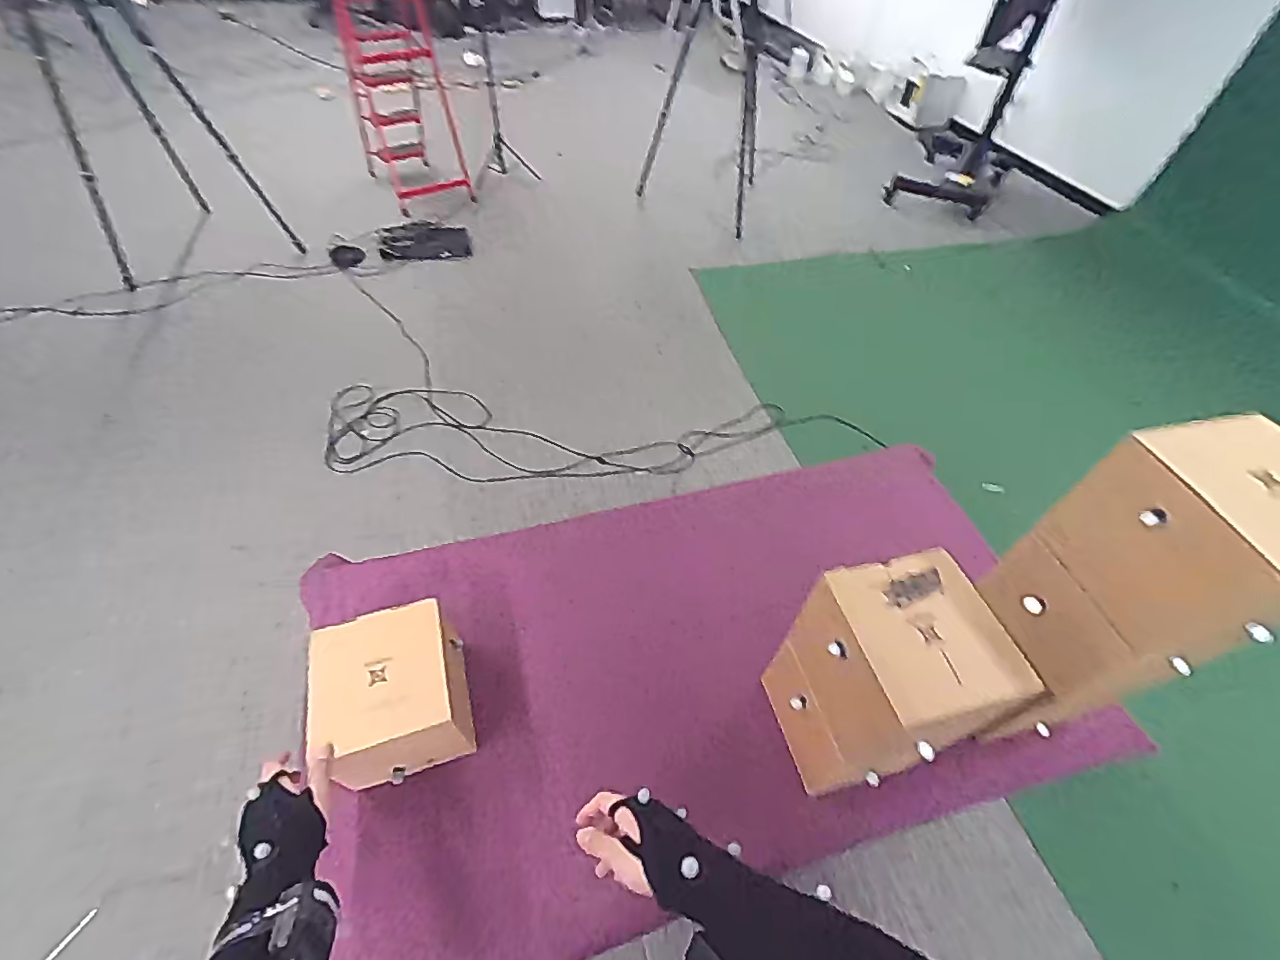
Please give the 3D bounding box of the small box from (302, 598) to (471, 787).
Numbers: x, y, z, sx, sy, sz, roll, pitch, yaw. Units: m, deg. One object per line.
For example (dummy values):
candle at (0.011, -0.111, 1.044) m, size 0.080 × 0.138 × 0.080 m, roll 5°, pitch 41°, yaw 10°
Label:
small box at (-0.343, 0.296, 0.752) m, size 0.168 × 0.176 × 0.179 m, roll -14°, pitch 54°, yaw -13°

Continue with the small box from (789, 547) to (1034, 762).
small box at (0.300, 0.209, 0.647) m, size 0.168 × 0.176 × 0.179 m, roll -10°, pitch 51°, yaw -10°

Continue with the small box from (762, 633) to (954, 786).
small box at (0.293, 0.316, 0.771) m, size 0.168 × 0.176 × 0.179 m, roll -10°, pitch 50°, yaw -11°

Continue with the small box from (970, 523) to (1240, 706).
small box at (0.574, 0.163, 0.695) m, size 0.168 × 0.176 × 0.179 m, roll -9°, pitch 51°, yaw -9°

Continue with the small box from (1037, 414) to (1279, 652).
small box at (0.580, 0.056, 0.569) m, size 0.168 × 0.176 × 0.179 m, roll -8°, pitch 52°, yaw -8°
